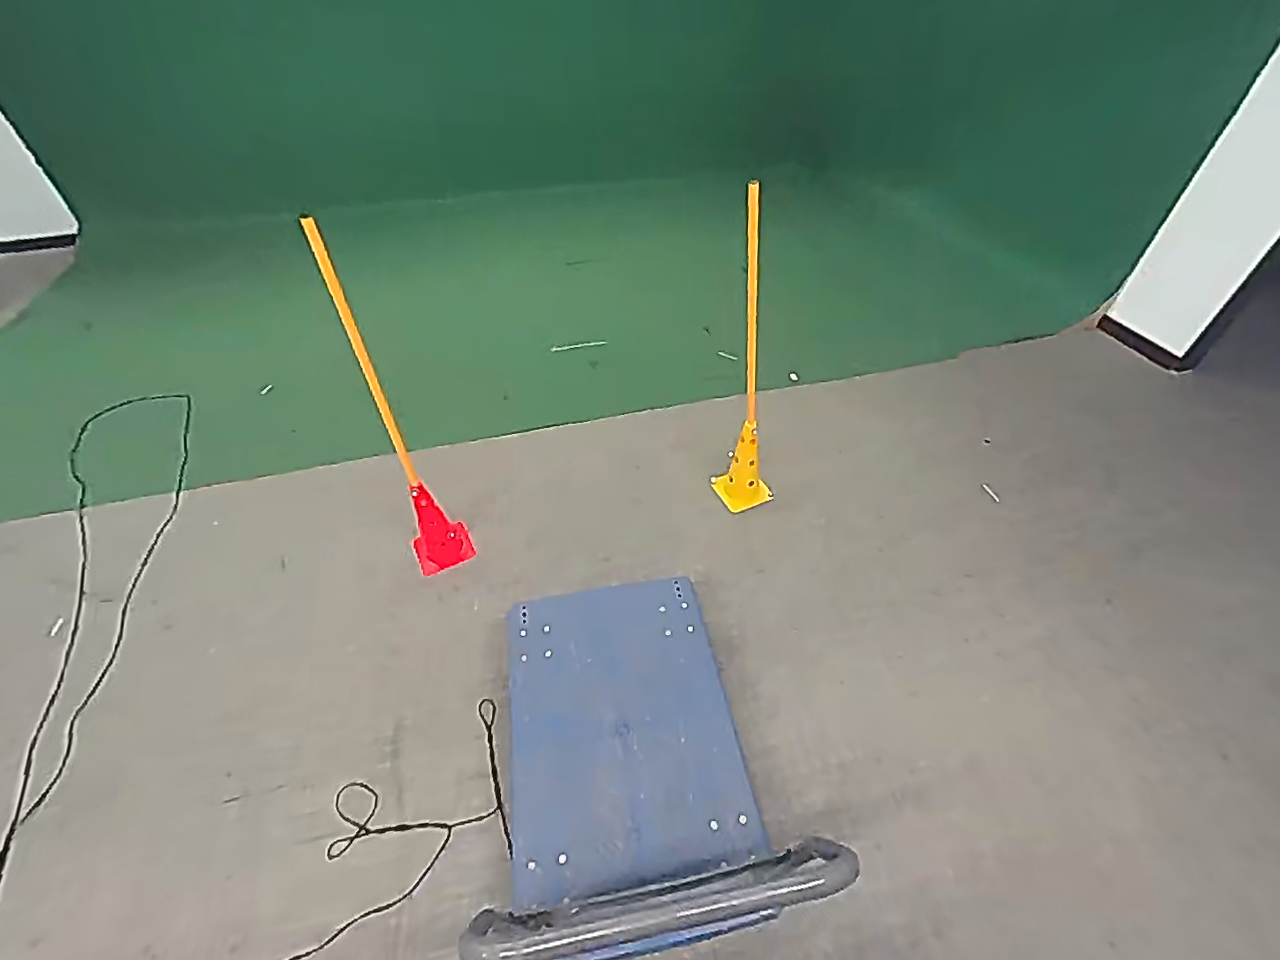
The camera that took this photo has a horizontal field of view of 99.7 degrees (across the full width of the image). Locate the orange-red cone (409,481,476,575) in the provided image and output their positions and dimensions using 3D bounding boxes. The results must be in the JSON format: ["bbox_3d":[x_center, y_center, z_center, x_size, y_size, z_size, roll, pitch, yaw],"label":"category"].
[{"bbox_3d":[-0.741,0.140,1.915,0.199,0.360,0.198,-23,49,-17],"label":"orange-red cone"}]
